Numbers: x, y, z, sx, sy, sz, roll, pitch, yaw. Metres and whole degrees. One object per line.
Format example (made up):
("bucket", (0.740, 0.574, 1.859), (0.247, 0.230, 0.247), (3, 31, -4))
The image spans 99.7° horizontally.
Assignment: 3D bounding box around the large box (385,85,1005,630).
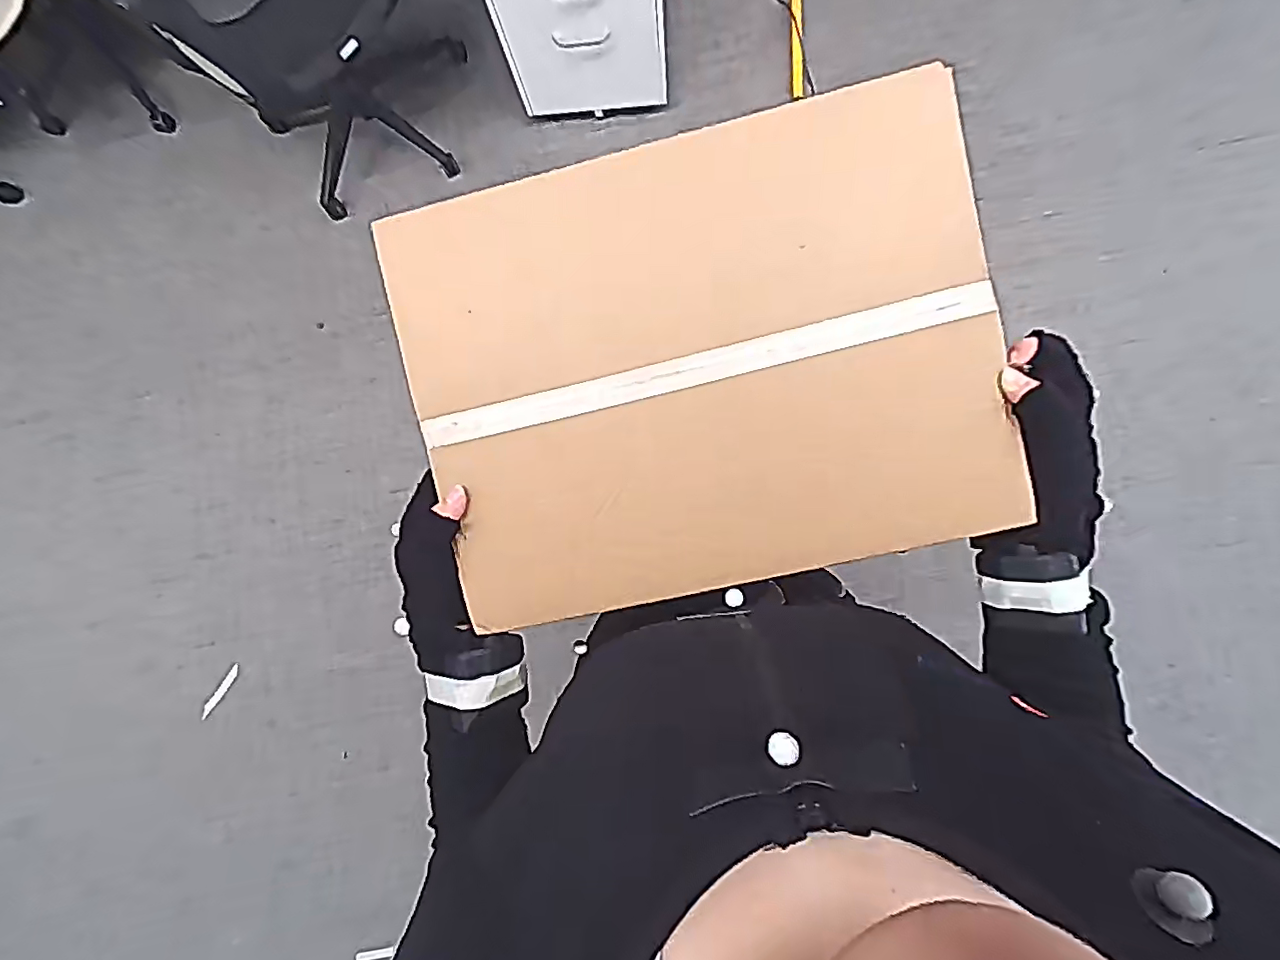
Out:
("large box", (0.047, -0.089, 0.540), (0.408, 0.320, 0.320), (-13, 93, 5))
